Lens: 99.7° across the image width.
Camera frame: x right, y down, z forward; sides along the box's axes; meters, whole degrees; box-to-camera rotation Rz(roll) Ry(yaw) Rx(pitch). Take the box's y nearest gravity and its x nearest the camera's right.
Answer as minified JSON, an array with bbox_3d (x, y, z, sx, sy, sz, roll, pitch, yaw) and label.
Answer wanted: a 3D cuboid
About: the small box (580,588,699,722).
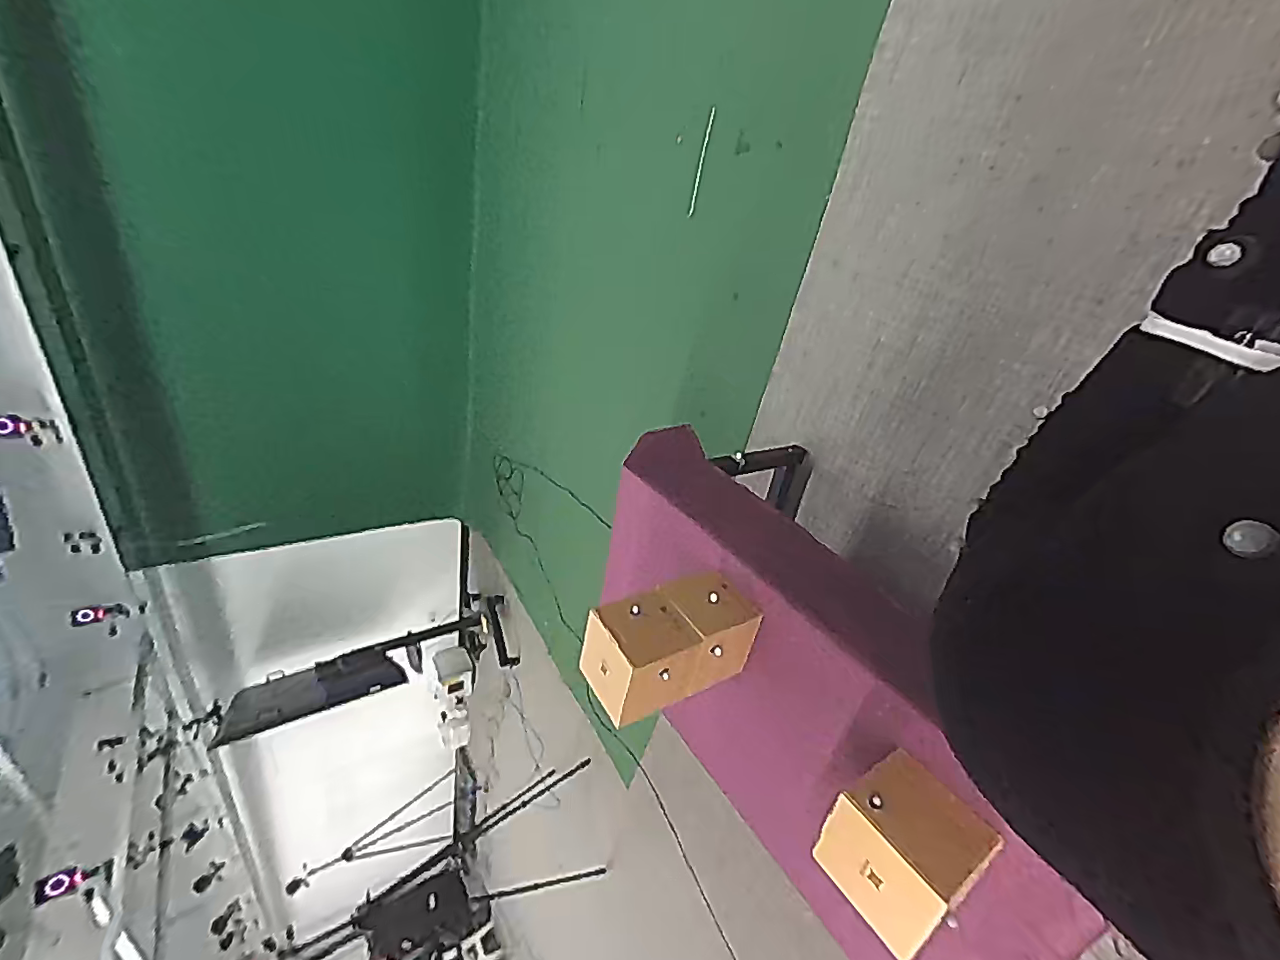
[{"bbox_3d":[-0.001,0.346,1.101,0.168,0.176,0.179,45,133,42],"label":"small box"}]

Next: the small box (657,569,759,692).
[{"bbox_3d":[0.135,0.321,1.188,0.168,0.176,0.179,43,131,44],"label":"small box"}]

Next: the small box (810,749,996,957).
[{"bbox_3d":[0.406,0.565,0.842,0.179,0.176,0.168,40,129,46],"label":"small box"}]
